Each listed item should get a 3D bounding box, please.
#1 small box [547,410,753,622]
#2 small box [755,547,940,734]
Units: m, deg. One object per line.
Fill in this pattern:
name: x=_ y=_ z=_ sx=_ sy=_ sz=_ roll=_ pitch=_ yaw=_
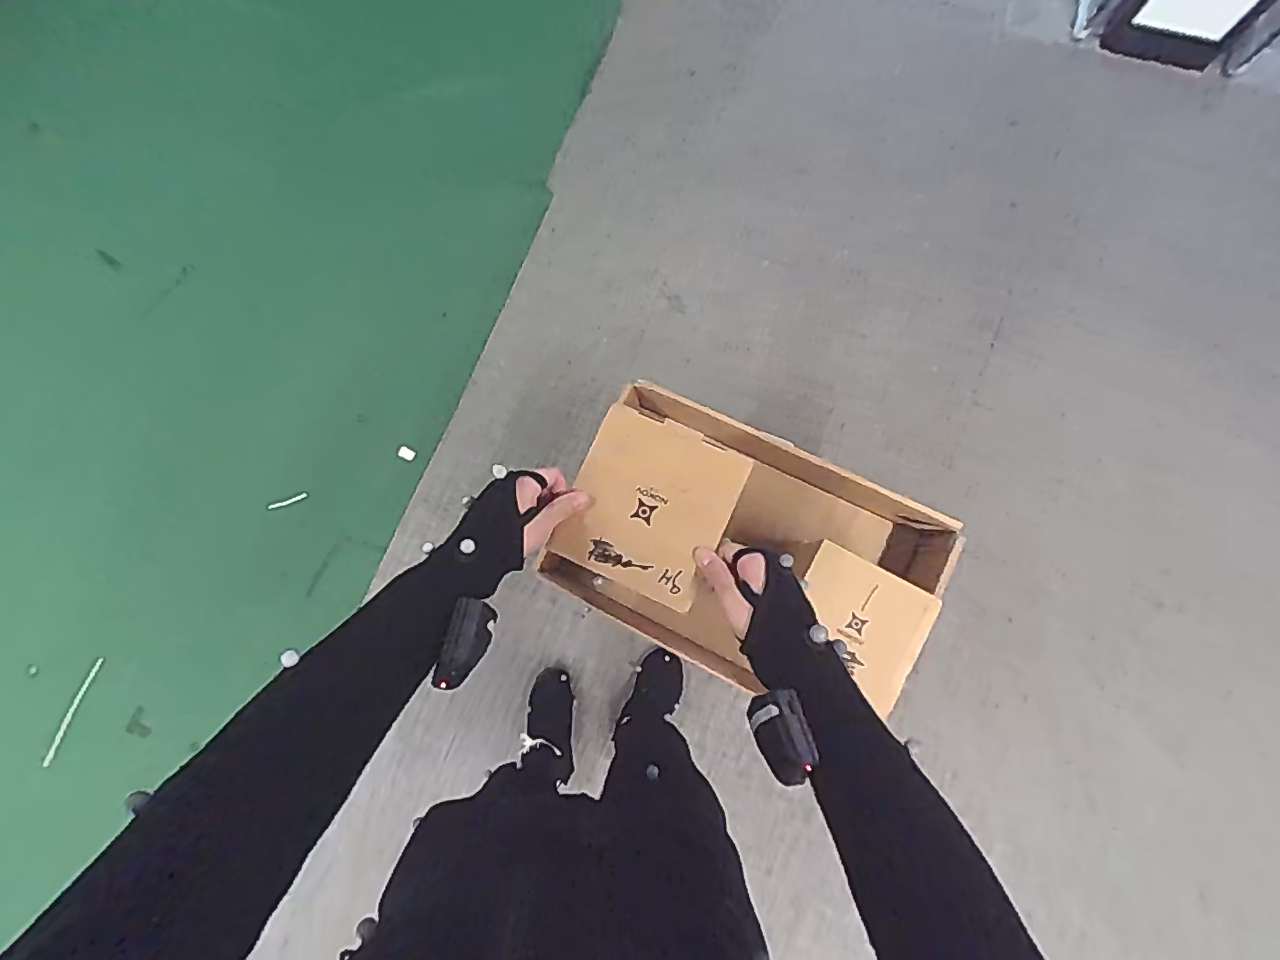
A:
small box: x=0.016 y=0.046 z=0.642 sx=0.168 sy=0.176 sz=0.179 roll=24 pitch=84 yaw=9
small box: x=0.273 y=0.213 z=0.757 sx=0.168 sy=0.176 sz=0.179 roll=29 pitch=83 yaw=10
